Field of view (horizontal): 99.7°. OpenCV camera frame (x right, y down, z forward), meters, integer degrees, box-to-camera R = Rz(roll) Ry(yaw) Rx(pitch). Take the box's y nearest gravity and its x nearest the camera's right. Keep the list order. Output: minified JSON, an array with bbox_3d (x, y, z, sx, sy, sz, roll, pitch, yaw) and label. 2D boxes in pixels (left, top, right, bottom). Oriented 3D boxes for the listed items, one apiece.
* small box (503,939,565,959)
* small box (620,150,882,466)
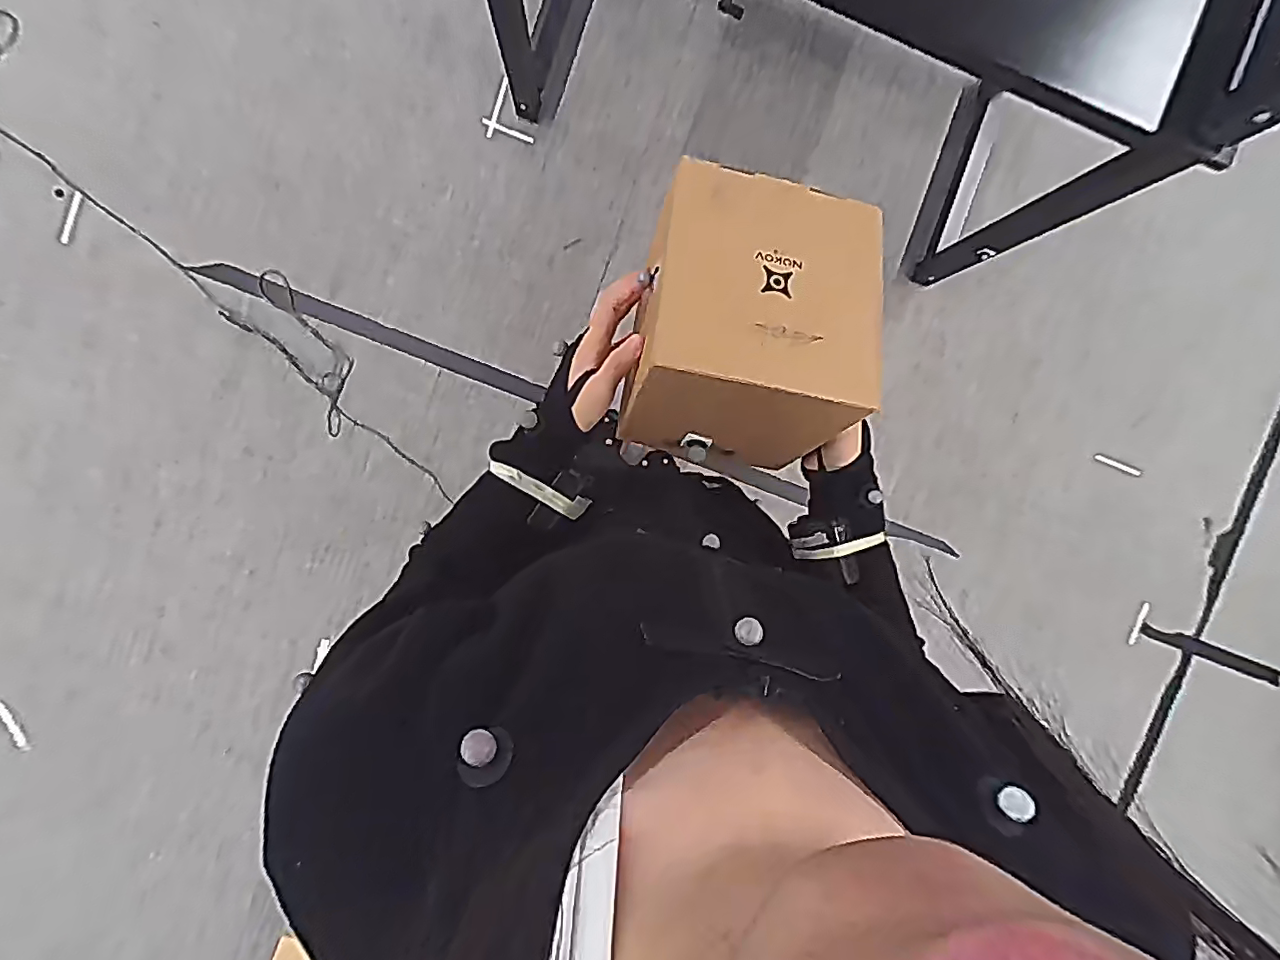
[{"bbox_3d":[-0.309,1.447,1.525,0.179,0.176,0.168,7,94,-6],"label":"small box"},{"bbox_3d":[0.081,-0.127,0.460,0.168,0.176,0.179,9,75,-8],"label":"small box"}]
